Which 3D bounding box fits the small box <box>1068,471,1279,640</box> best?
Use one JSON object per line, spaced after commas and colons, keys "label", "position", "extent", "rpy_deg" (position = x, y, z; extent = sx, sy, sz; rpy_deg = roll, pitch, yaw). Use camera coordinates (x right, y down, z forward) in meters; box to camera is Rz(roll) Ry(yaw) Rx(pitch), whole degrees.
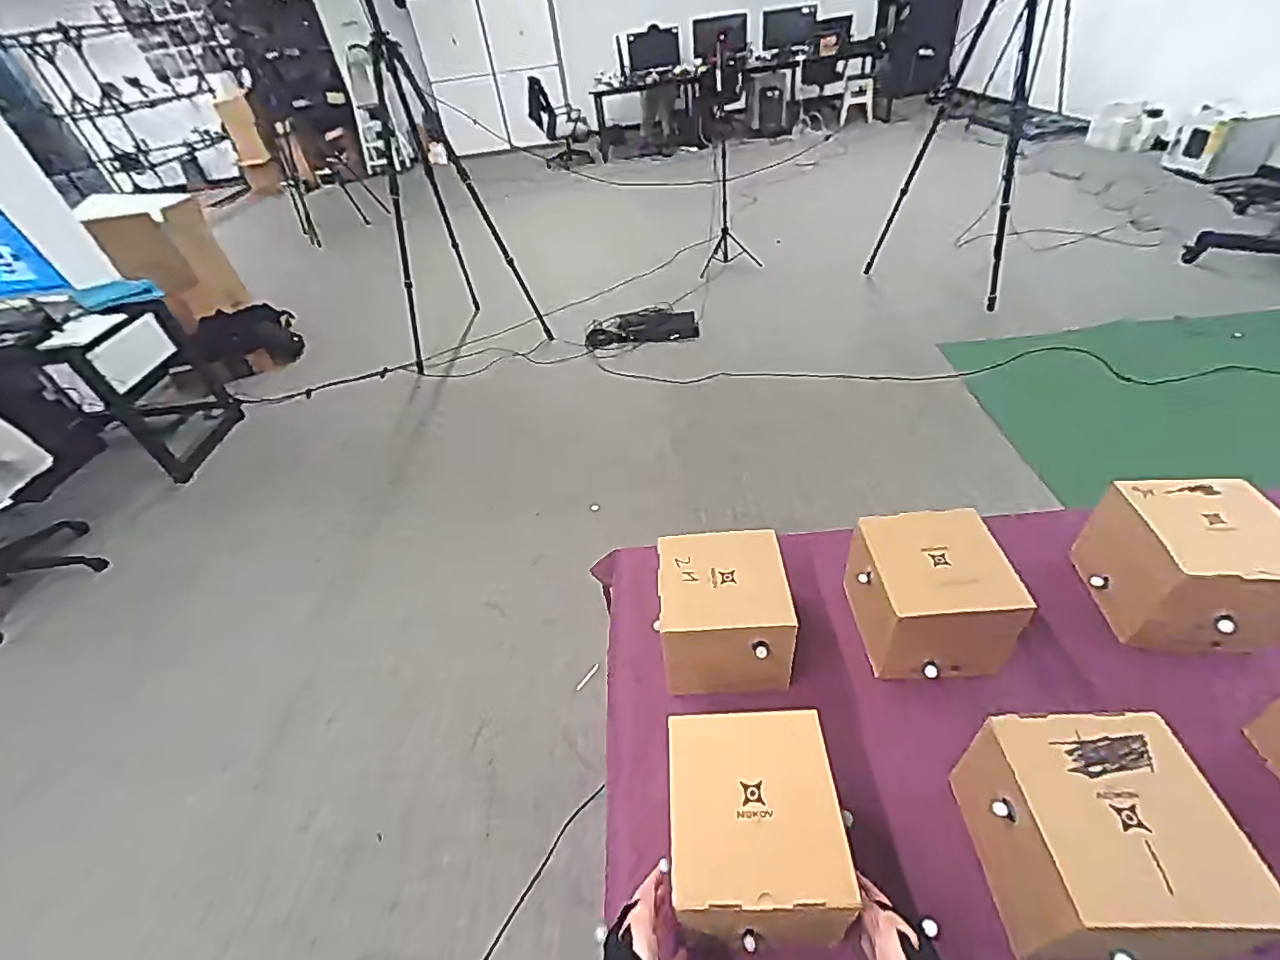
{"label": "small box", "position": [0.757, 0.108, 0.759], "extent": [0.168, 0.176, 0.179], "rpy_deg": [-1, 43, 9]}

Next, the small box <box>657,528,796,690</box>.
{"label": "small box", "position": [0.120, 0.192, 0.795], "extent": [0.179, 0.176, 0.168], "rpy_deg": [-5, 41, 5]}

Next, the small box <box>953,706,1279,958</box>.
{"label": "small box", "position": [0.448, 0.353, 0.547], "extent": [0.168, 0.176, 0.179], "rpy_deg": [-5, 42, 6]}

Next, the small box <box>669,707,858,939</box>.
{"label": "small box", "position": [0.120, 0.374, 0.592], "extent": [0.168, 0.176, 0.179], "rpy_deg": [-5, 42, 5]}
